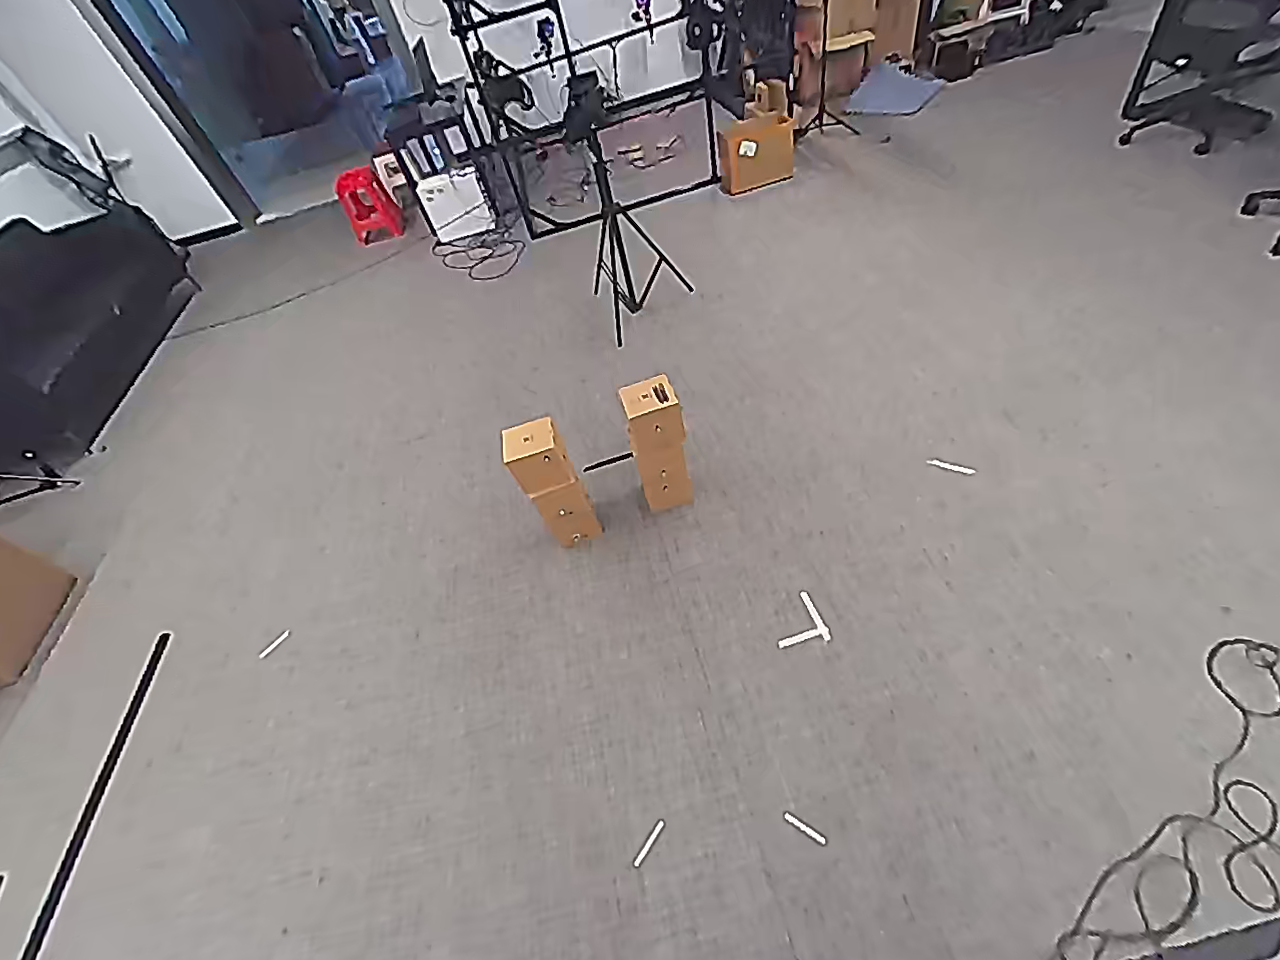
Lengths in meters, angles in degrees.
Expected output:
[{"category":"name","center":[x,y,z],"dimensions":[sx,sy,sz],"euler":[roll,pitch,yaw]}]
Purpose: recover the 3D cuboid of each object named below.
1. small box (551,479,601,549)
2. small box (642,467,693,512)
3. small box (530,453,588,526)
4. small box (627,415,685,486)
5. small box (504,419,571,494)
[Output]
[{"category":"small box","center":[-0.262,0.133,2.081],"dimensions":[0.168,0.176,0.179],"euler":[-22,48,-3]},{"category":"small box","center":[0.096,0.002,2.096],"dimensions":[0.179,0.176,0.168],"euler":[-16,48,0]},{"category":"small box","center":[-0.302,0.033,1.957],"dimensions":[0.168,0.176,0.179],"euler":[-21,48,-2]},{"category":"small box","center":[0.062,-0.104,1.976],"dimensions":[0.179,0.176,0.168],"euler":[-15,47,1]},{"category":"small box","center":[-0.350,-0.076,1.846],"dimensions":[0.179,0.176,0.168],"euler":[-17,47,1]}]
